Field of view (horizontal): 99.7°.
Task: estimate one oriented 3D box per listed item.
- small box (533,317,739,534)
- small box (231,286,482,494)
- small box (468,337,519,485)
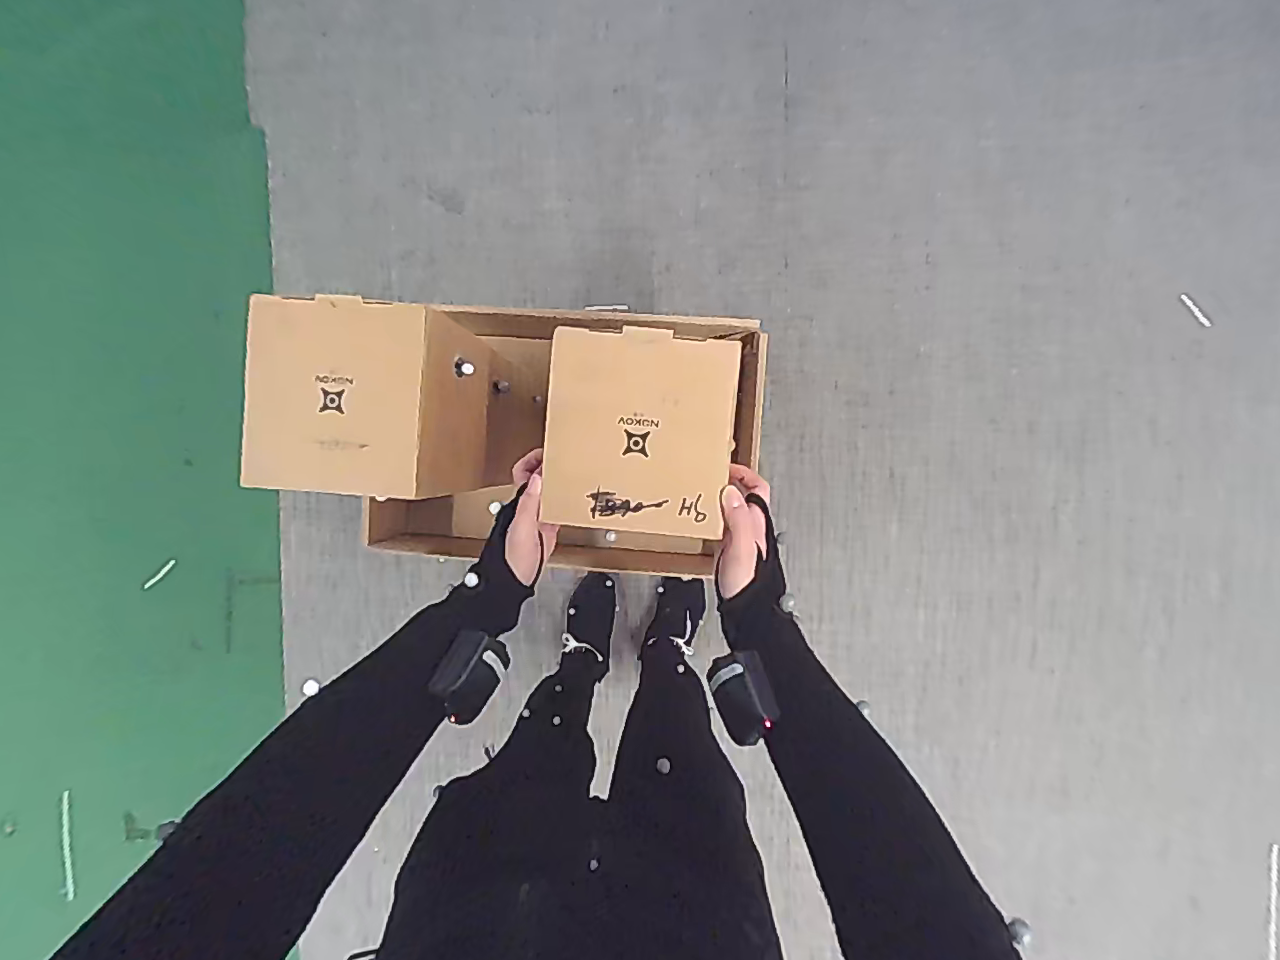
[{"bbox_3d":[-0.002,-0.049,0.546,0.168,0.176,0.179,6,92,2],"label":"small box"},{"bbox_3d":[-0.272,-0.081,0.557,0.168,0.176,0.179,4,92,4],"label":"small box"},{"bbox_3d":[-0.265,-0.087,0.720,0.168,0.176,0.179,3,92,4],"label":"small box"}]
